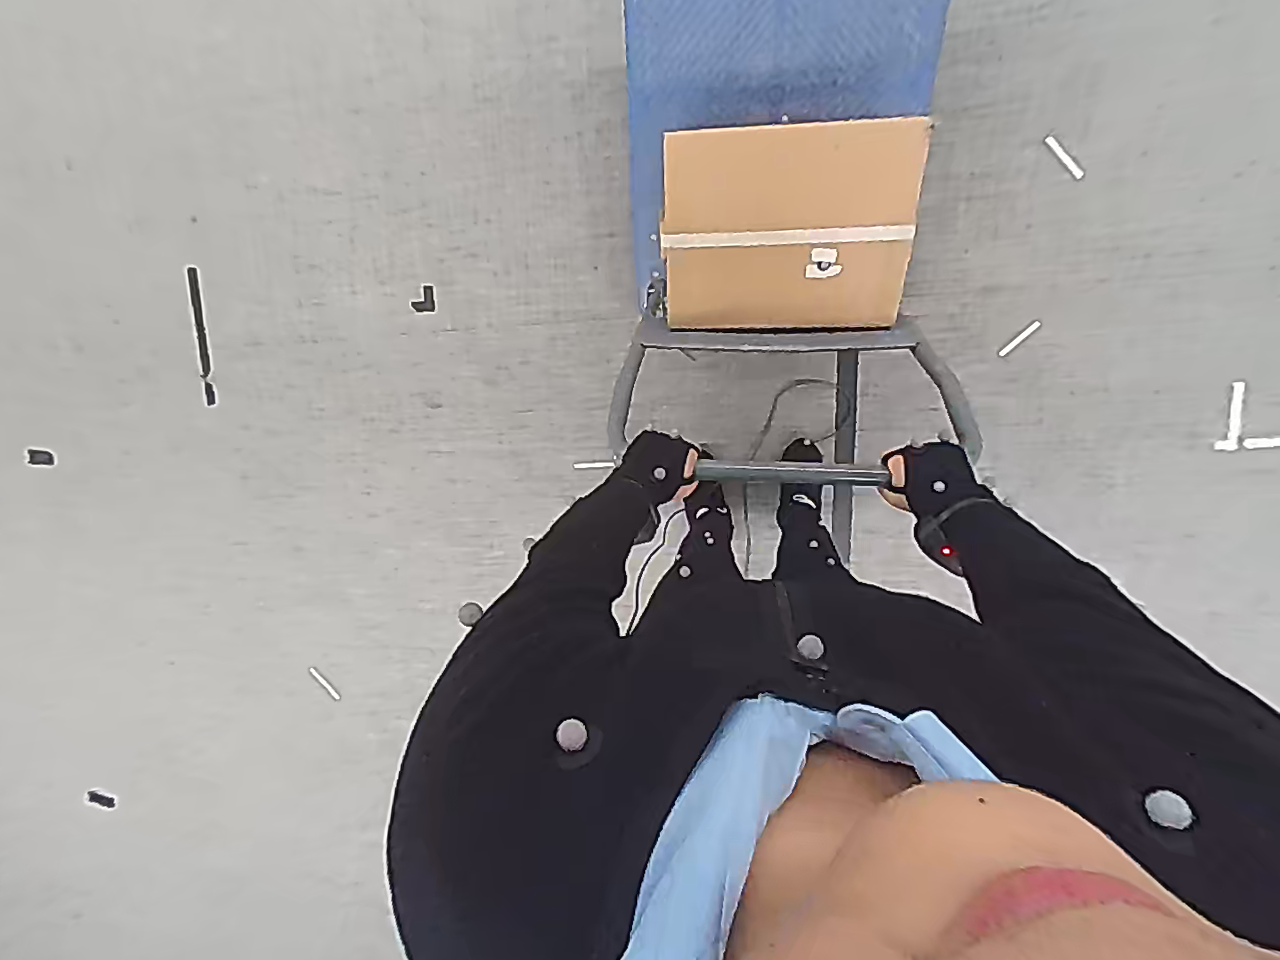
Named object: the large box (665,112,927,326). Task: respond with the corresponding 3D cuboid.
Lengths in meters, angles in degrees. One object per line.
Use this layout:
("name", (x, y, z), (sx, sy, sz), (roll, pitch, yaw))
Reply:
("large box", (0.264, -0.500, 1.042), (0.408, 0.320, 0.320), (1, 123, 8))
